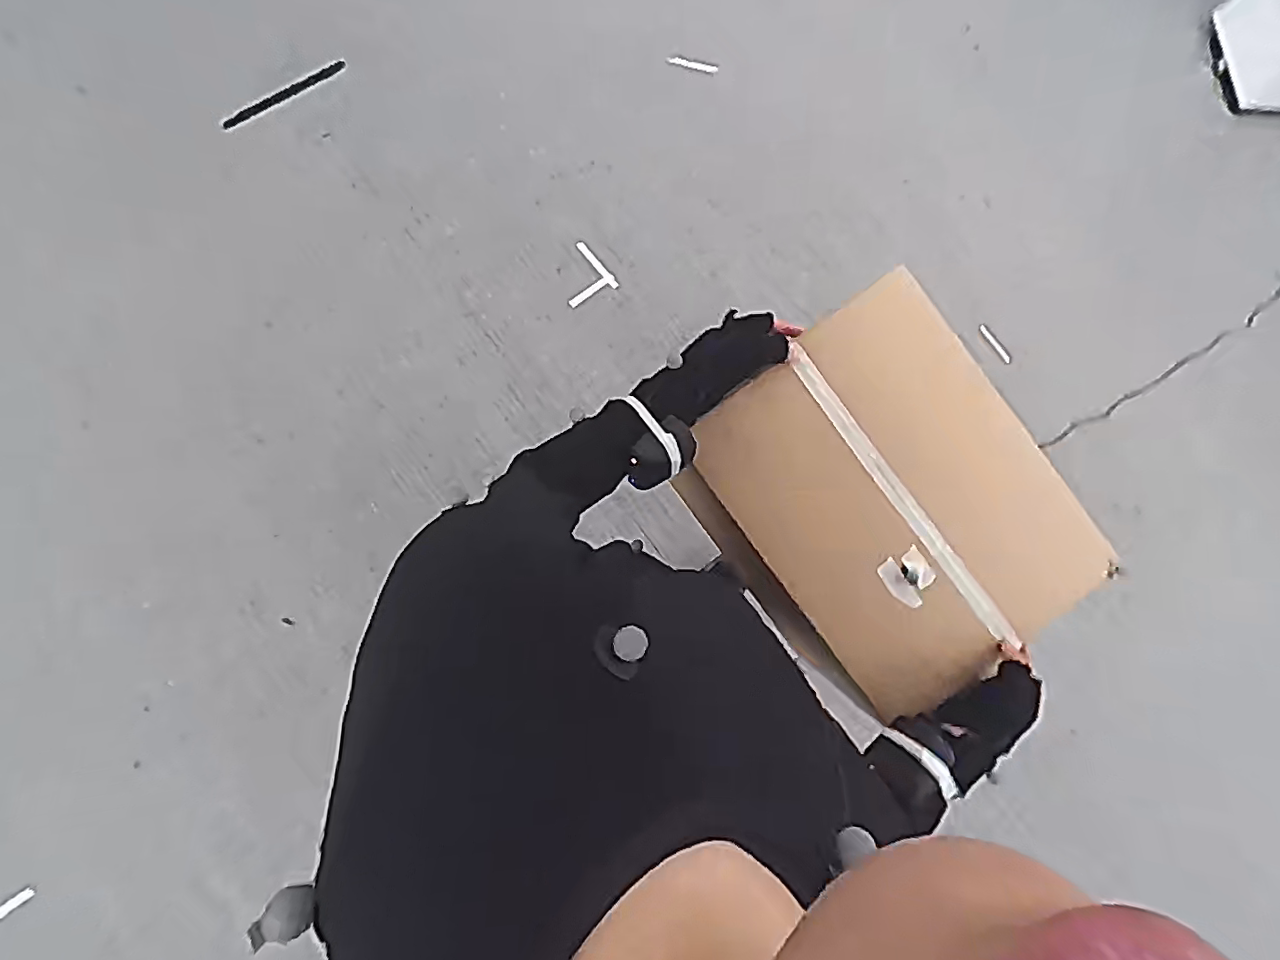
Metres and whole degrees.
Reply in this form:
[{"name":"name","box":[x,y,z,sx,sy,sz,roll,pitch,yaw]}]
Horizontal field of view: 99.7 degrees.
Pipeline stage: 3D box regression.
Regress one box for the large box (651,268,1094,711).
[{"name":"large box","box":[0.262,0.009,0.742,0.320,0.320,0.408,-37,92,-2]}]
